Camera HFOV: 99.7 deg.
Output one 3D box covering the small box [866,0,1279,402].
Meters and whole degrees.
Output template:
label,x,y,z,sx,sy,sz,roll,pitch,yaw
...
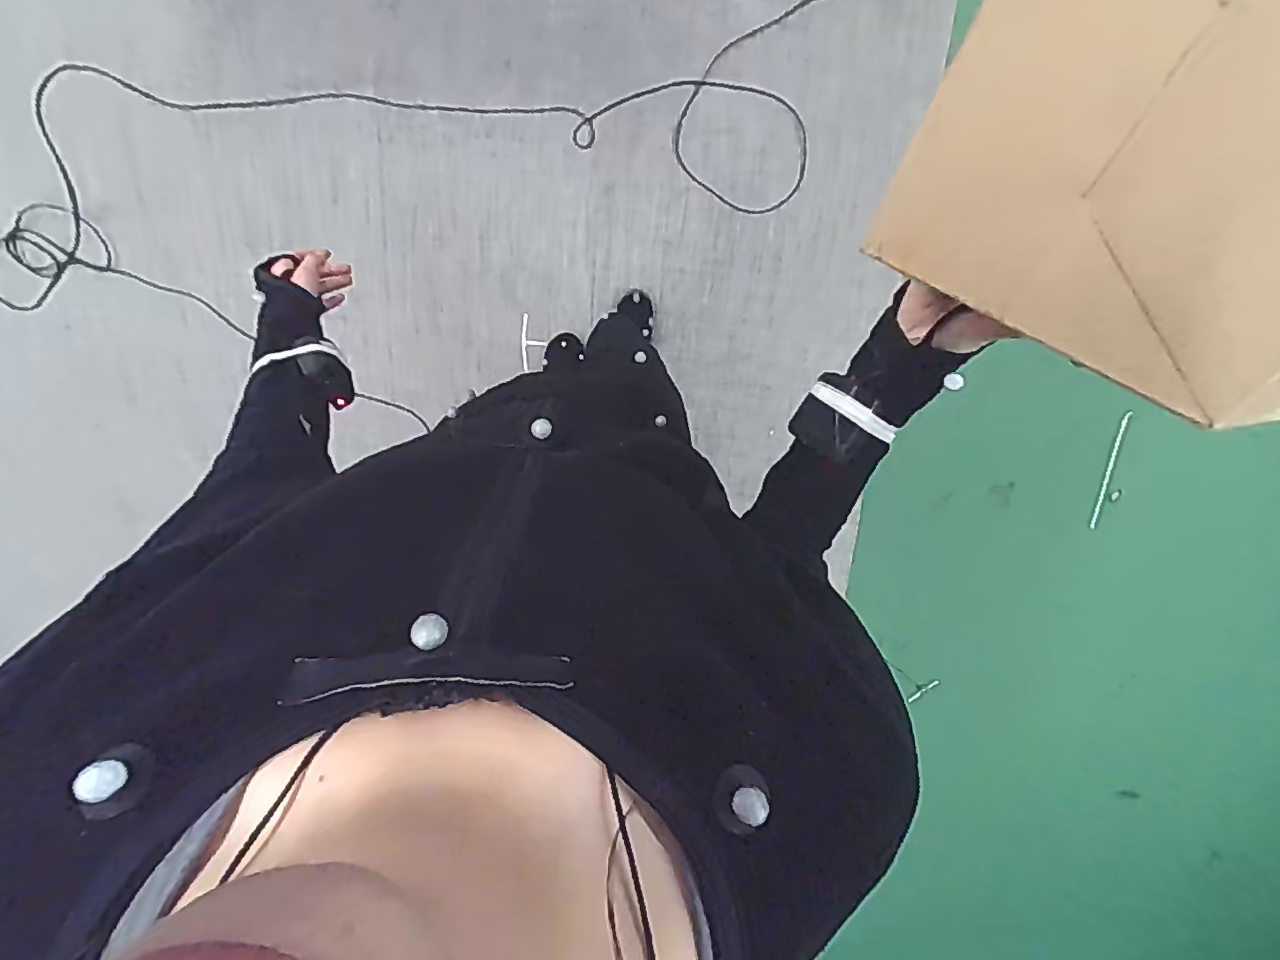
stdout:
label,x,y,z,sx,sy,sz,roll,pitch,yaw
small box,0.245,-0.145,0.241,0.176,0.179,0.168,-6,132,-35
